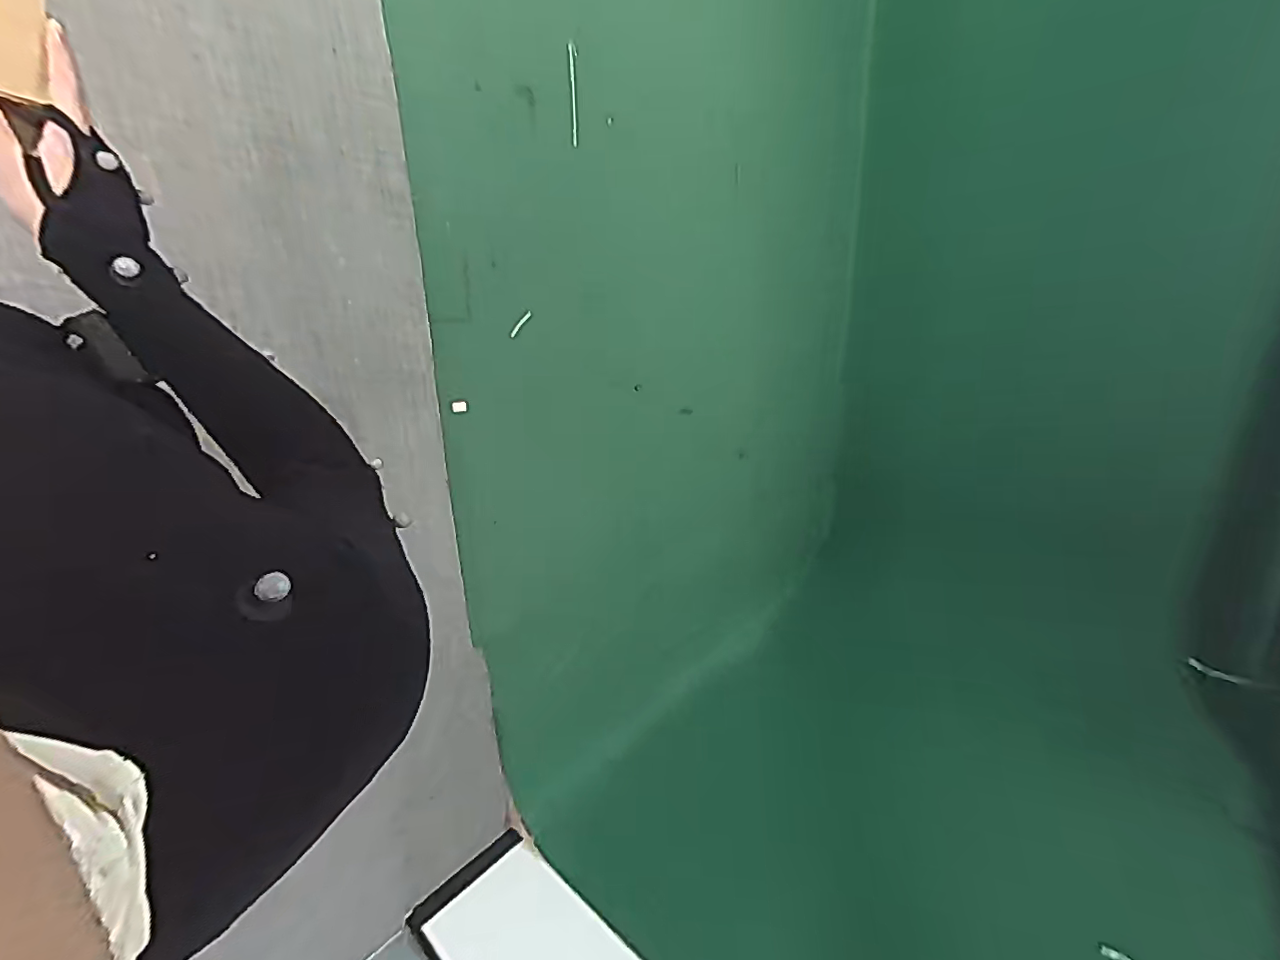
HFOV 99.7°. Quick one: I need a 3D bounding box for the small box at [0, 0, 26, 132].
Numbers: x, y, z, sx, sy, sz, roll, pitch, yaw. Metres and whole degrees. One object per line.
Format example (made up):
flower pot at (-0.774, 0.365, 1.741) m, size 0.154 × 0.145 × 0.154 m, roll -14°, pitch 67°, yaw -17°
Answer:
small box at (-0.556, -0.375, 0.372) m, size 0.168 × 0.176 × 0.179 m, roll -8°, pitch 106°, yaw -51°
